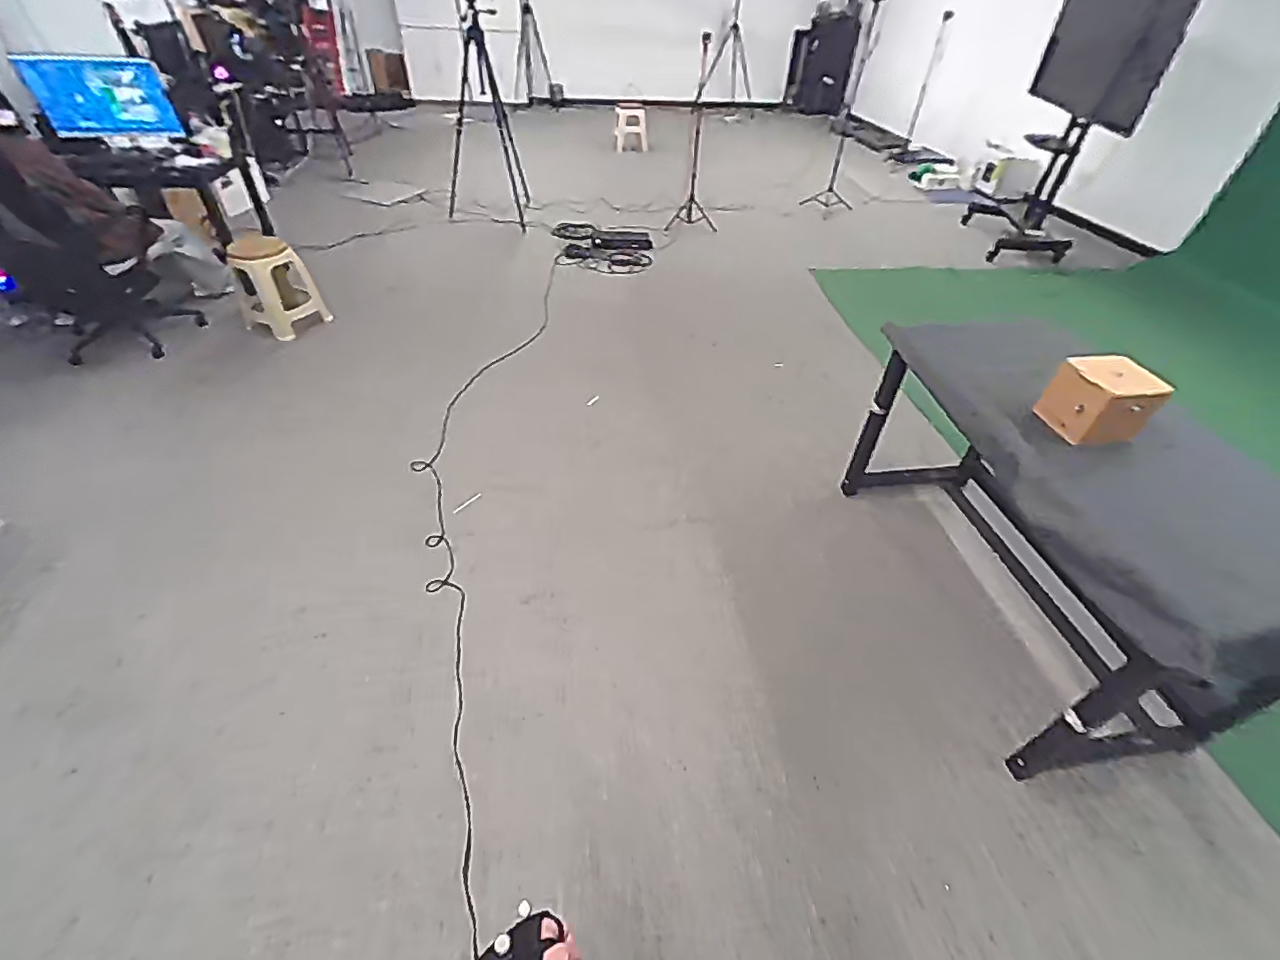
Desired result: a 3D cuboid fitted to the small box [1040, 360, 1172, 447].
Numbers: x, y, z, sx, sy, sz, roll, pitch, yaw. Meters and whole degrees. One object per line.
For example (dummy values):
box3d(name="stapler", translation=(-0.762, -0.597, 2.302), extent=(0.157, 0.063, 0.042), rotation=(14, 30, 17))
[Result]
box3d(name="small box", translation=(1.200, -0.198, 1.415), extent=(0.179, 0.176, 0.168), rotation=(-3, 44, -8))
